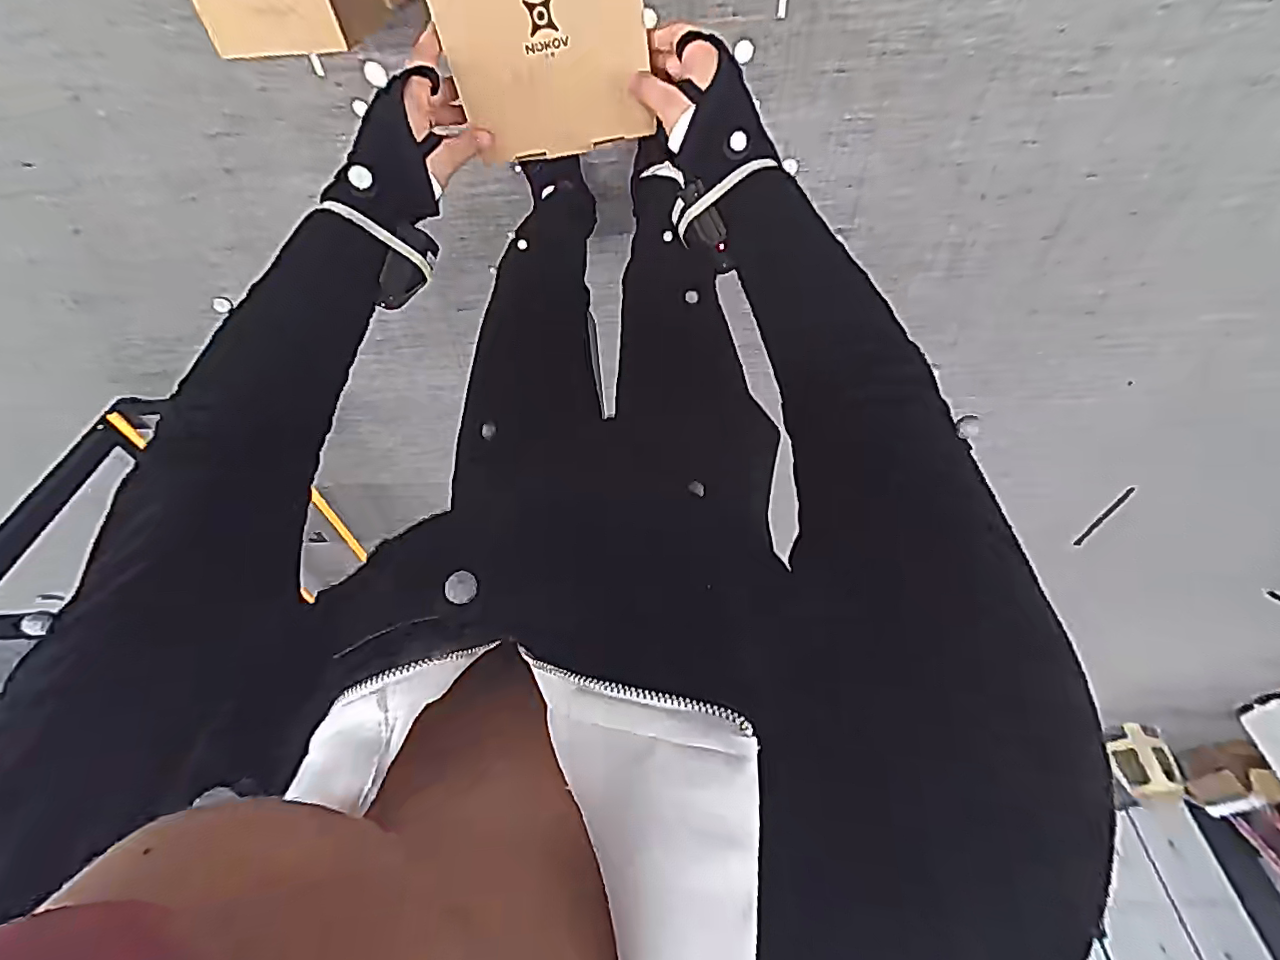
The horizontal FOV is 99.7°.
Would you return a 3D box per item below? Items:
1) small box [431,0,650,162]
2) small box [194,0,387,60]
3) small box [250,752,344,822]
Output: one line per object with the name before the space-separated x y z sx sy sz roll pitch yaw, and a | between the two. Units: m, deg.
small box | -0.083 -0.428 0.496 0.168 0.176 0.179 -7 139 4
small box | -0.440 -0.644 0.658 0.168 0.176 0.179 -1 142 3
small box | -1.087 0.985 1.733 0.168 0.176 0.179 -1 139 1
